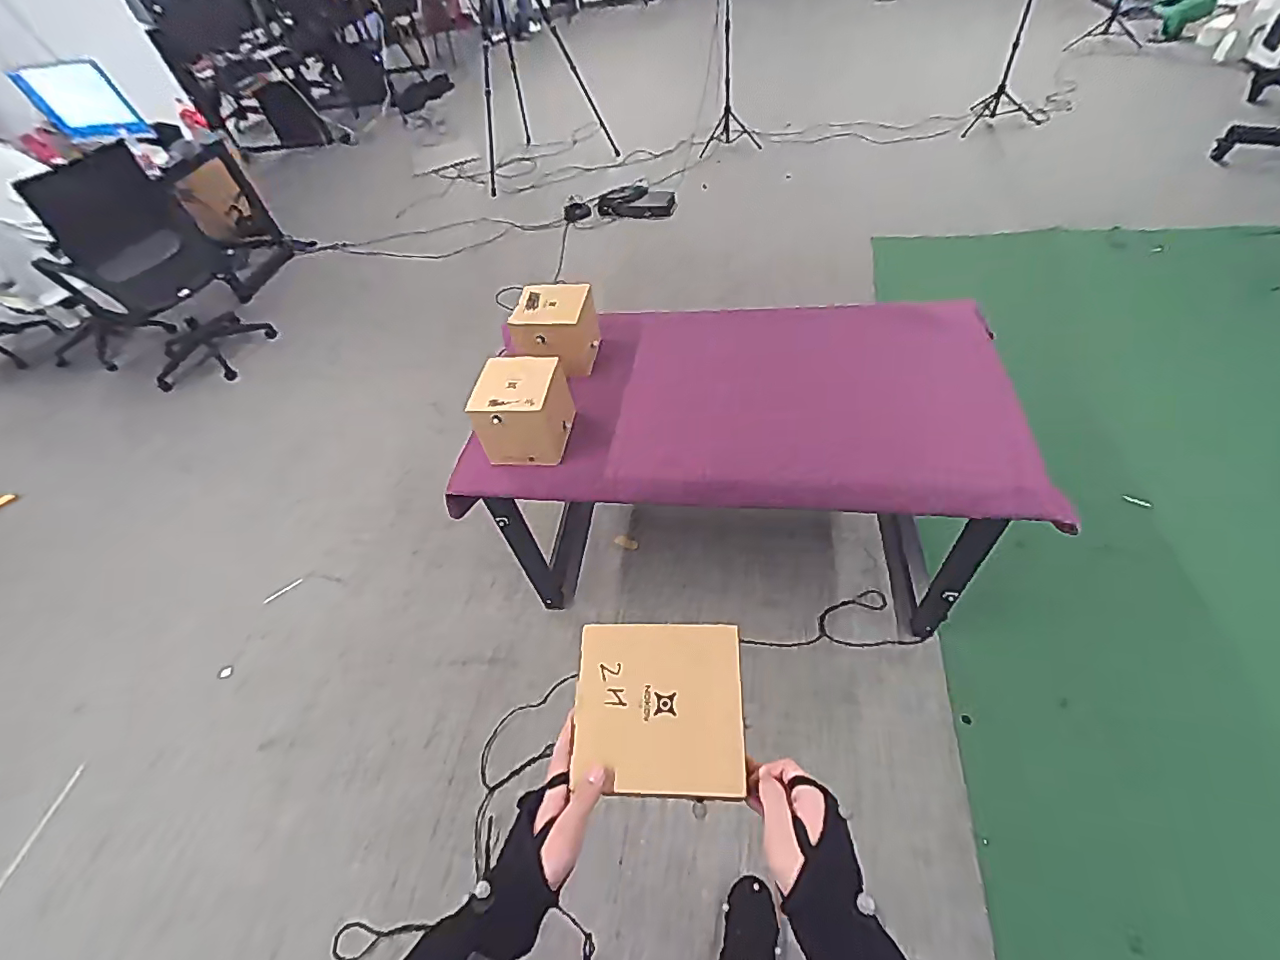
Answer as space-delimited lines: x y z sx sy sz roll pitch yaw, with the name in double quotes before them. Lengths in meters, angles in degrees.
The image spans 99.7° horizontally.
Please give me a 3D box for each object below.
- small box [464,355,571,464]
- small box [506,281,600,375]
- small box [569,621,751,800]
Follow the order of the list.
"small box" -0.257 -0.156 1.191 0.168 0.176 0.179 1 50 10
"small box" -0.211 -0.382 1.368 0.179 0.176 0.168 3 53 10
"small box" 0.030 0.268 0.621 0.179 0.176 0.168 -1 59 7
